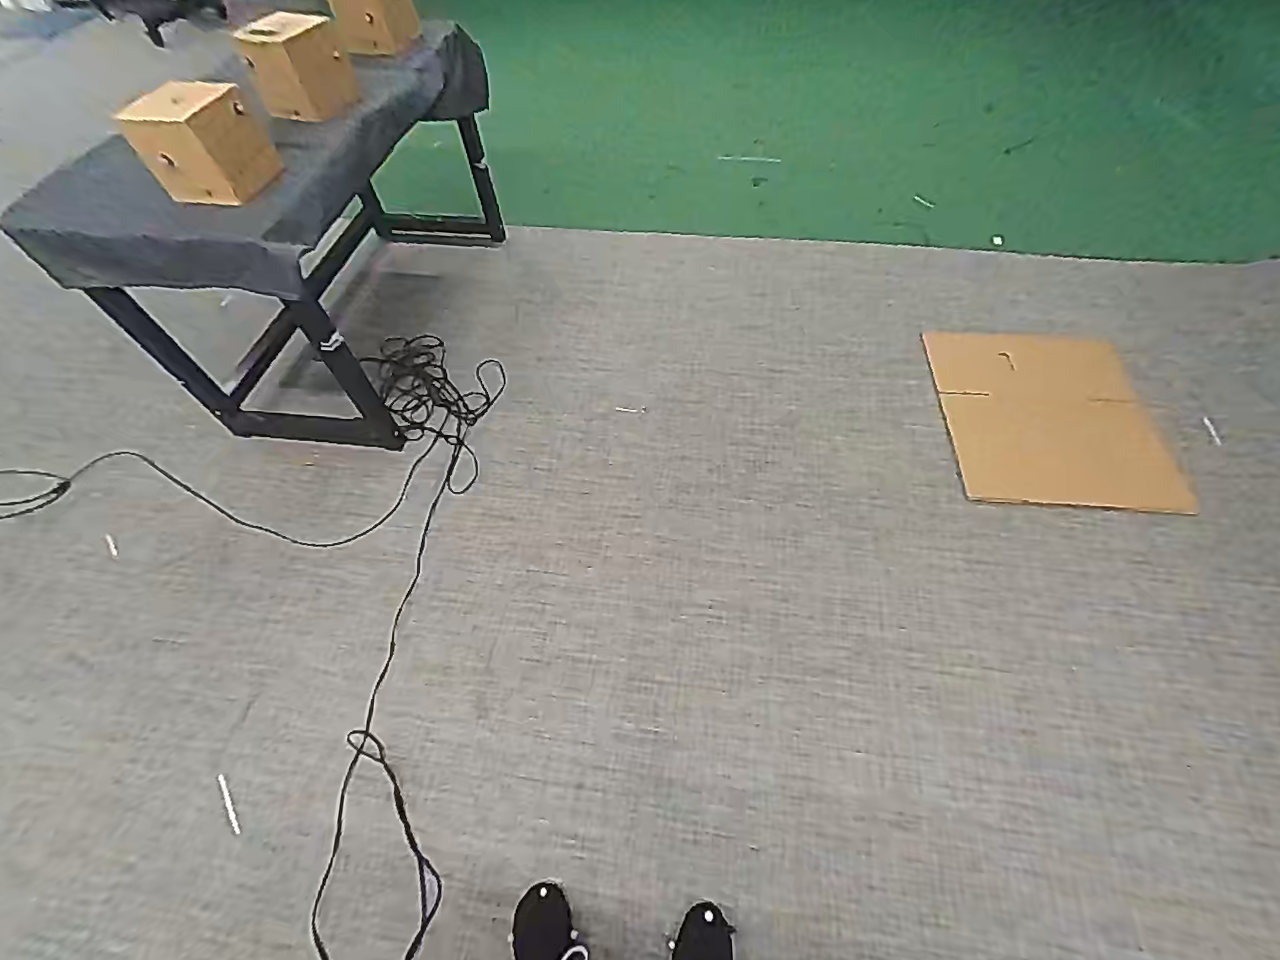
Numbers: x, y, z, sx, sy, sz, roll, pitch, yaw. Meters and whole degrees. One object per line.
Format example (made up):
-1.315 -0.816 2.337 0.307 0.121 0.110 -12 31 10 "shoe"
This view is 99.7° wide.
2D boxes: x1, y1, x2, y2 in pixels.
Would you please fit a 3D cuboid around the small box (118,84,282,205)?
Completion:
-0.911 -0.707 1.144 0.168 0.176 0.179 7 56 8 "small box"

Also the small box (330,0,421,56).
-0.775 -1.380 1.588 0.168 0.176 0.179 11 57 8 "small box"
